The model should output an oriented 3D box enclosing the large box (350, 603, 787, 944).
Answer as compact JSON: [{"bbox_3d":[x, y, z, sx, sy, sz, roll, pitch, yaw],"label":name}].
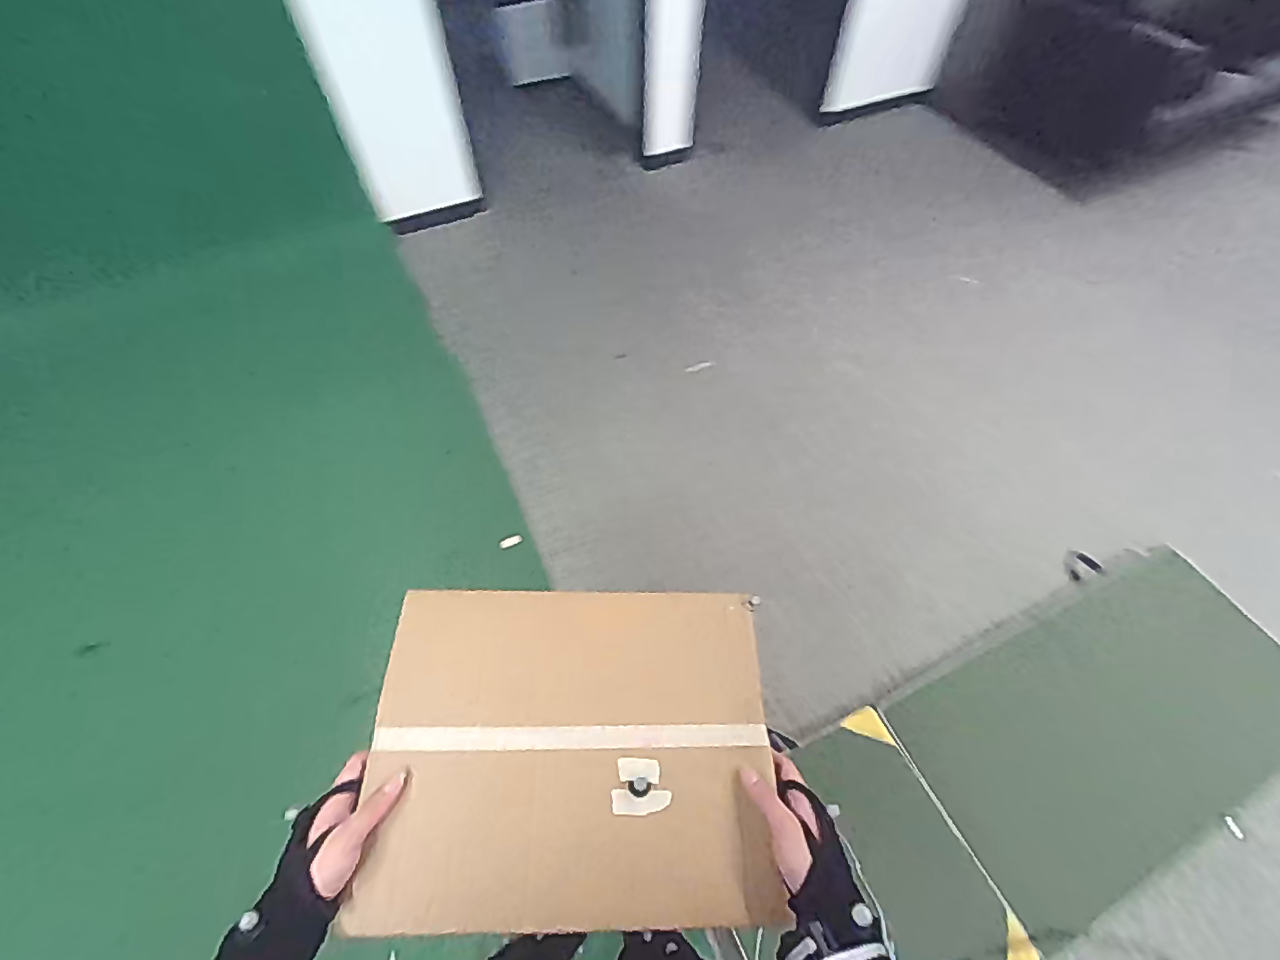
[{"bbox_3d":[-0.073,0.360,0.691,0.408,0.320,0.320,2,58,-3],"label":"large box"}]
